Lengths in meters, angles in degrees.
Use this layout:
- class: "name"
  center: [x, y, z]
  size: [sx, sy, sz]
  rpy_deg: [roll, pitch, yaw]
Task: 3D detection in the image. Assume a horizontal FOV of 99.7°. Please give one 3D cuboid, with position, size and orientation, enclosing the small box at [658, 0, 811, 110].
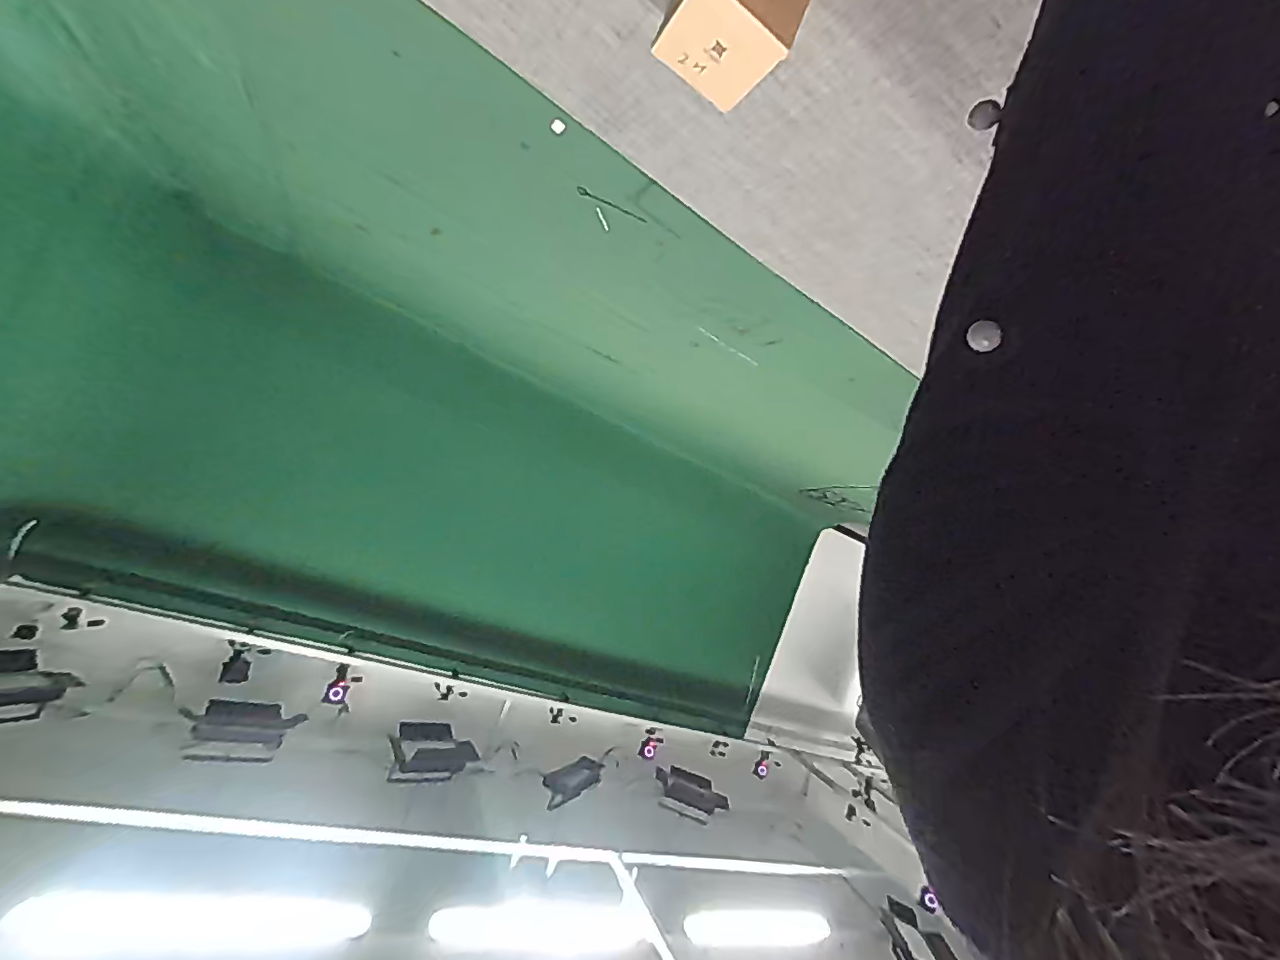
- class: "small box"
  center: [0.160, -0.760, 0.866]
  size: [0.168, 0.176, 0.179]
  rpy_deg: [25, 174, -24]
